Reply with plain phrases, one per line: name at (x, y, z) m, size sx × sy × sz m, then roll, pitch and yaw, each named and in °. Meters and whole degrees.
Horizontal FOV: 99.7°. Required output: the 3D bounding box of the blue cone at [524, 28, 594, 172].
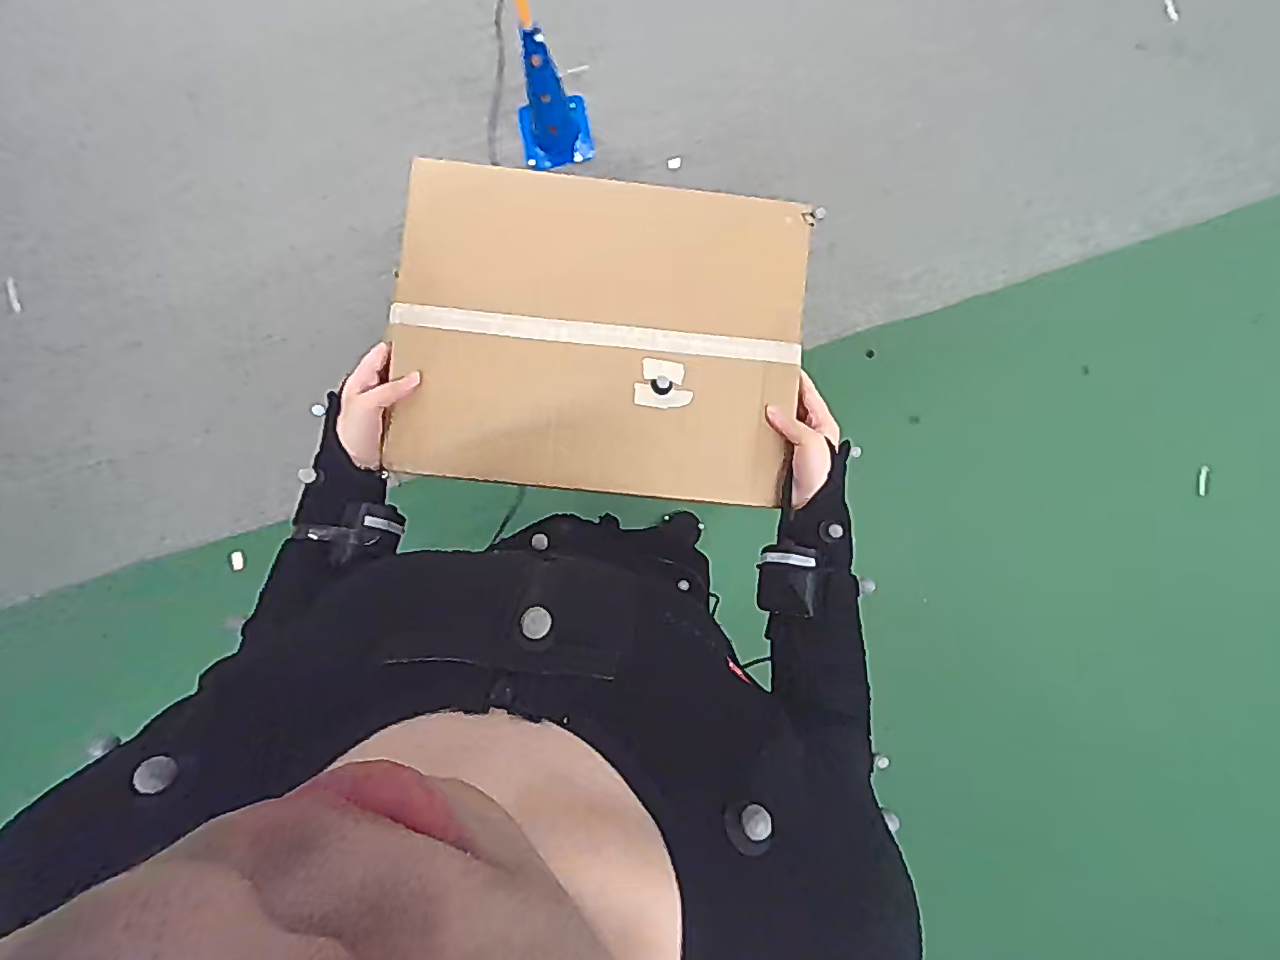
blue cone at (-0.241, -1.007, 1.406) m, size 0.193 × 0.380 × 0.192 m, roll -10°, pitch 88°, yaw 1°

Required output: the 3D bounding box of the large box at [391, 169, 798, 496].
large box at (-0.051, -0.145, 0.696) m, size 0.408 × 0.320 × 0.320 m, roll 4°, pitch 89°, yaw -3°
